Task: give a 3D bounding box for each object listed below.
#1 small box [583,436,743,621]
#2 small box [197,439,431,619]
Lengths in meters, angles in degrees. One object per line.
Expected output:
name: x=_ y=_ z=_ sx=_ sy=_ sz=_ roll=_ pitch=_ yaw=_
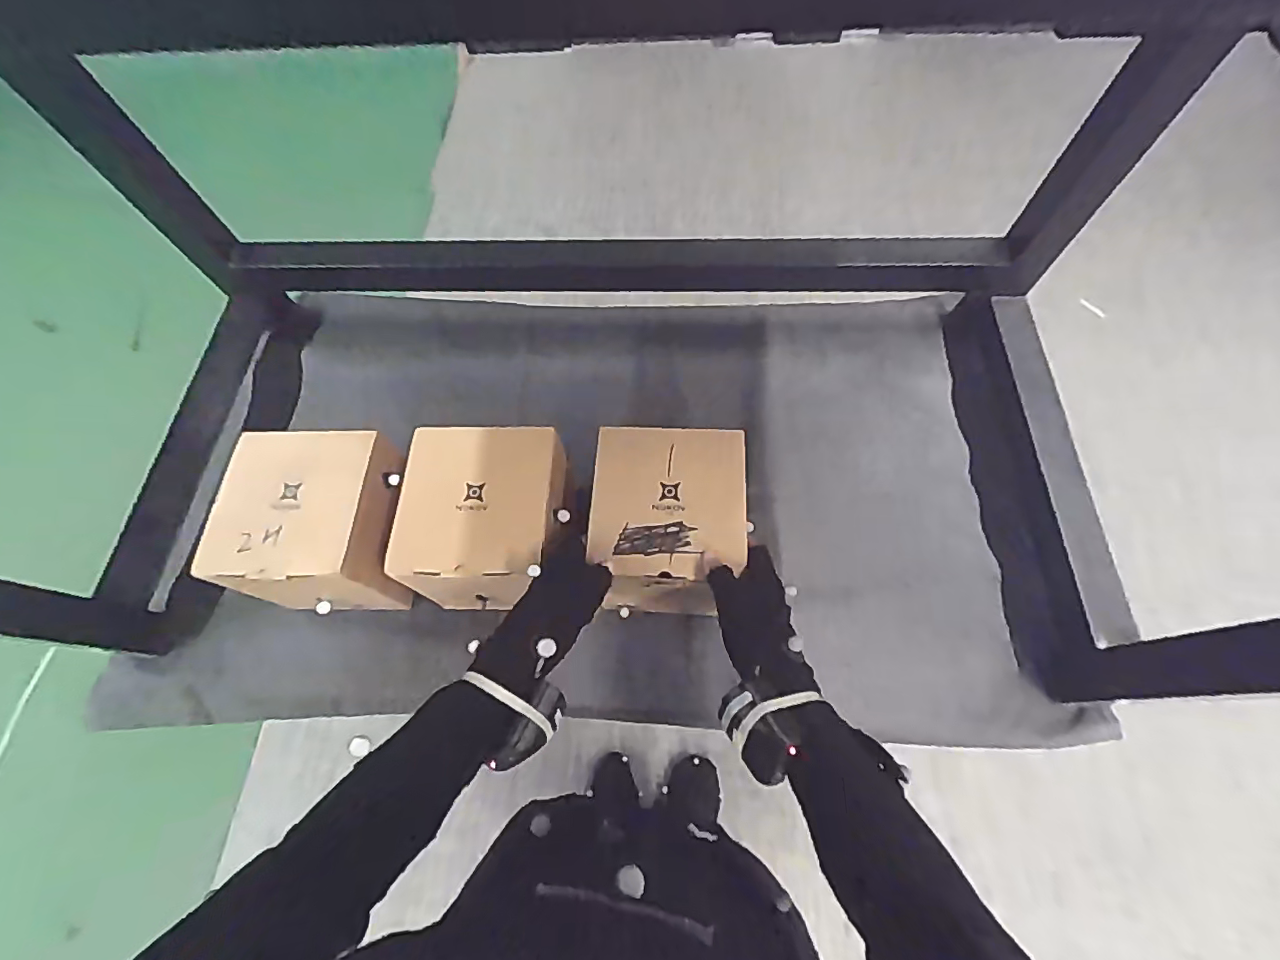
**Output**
small box: x=0.034 y=0.065 z=0.650 sx=0.168 sy=0.176 sz=0.179 roll=2 pitch=63 yaw=4
small box: x=-0.380 y=0.065 z=0.672 sx=0.168 sy=0.176 sz=0.179 roll=0 pitch=64 yaw=3
